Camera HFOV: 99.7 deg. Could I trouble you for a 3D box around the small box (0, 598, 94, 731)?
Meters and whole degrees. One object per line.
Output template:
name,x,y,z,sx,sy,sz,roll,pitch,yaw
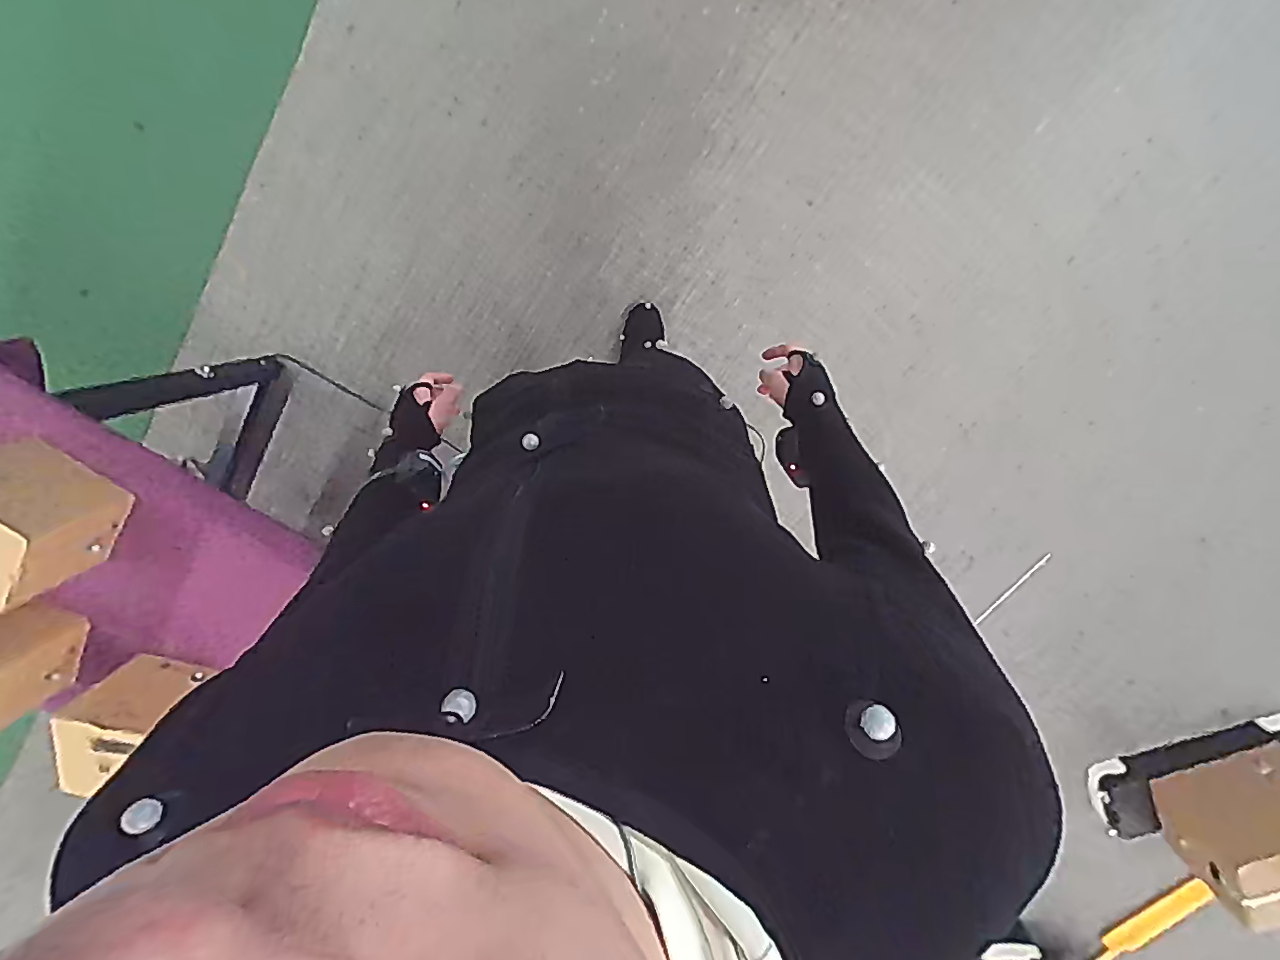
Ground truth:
small box,-1.149,0.323,0.960,0.179,0.176,0.168,28,108,-9

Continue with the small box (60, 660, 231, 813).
small box,-0.899,0.464,1.000,0.168,0.176,0.179,15,110,-3

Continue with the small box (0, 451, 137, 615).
small box,-0.980,0.072,0.861,0.179,0.176,0.168,37,108,-11
